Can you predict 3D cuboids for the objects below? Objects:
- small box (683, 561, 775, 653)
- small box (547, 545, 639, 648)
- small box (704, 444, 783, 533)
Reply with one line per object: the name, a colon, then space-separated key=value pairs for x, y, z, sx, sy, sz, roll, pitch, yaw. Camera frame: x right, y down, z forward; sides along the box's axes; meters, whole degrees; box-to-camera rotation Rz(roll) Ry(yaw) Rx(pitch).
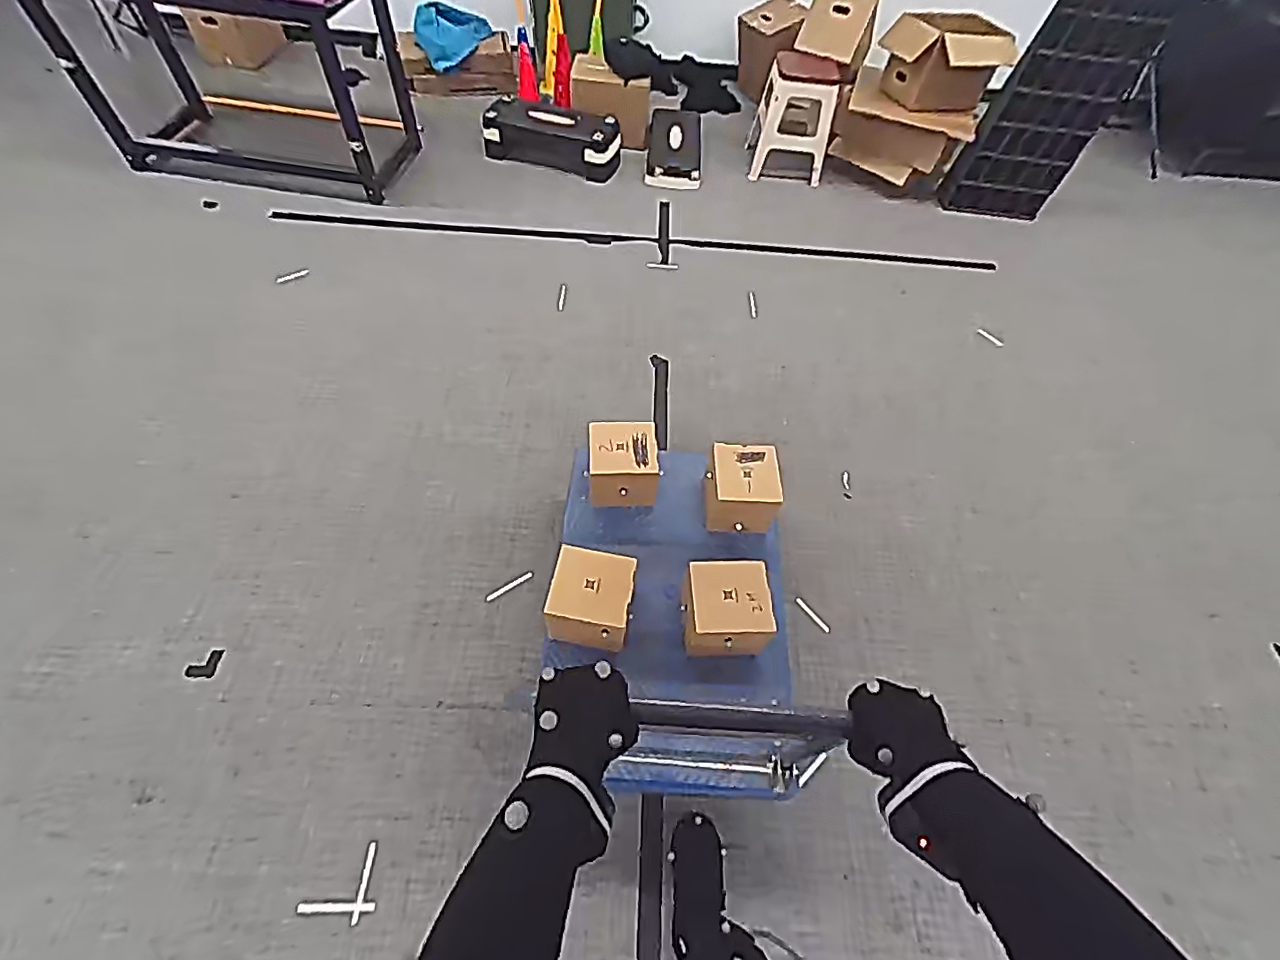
small box: x=0.197 y=0.298 z=1.255 sx=0.179 sy=0.176 sz=0.168 roll=0 pitch=56 yaw=-4
small box: x=-0.107 y=0.274 z=1.247 sx=0.179 sy=0.176 sz=0.168 roll=11 pitch=55 yaw=1
small box: x=0.268 y=0.025 z=1.444 sx=0.168 sy=0.176 sz=0.179 roll=2 pitch=57 yaw=-3
